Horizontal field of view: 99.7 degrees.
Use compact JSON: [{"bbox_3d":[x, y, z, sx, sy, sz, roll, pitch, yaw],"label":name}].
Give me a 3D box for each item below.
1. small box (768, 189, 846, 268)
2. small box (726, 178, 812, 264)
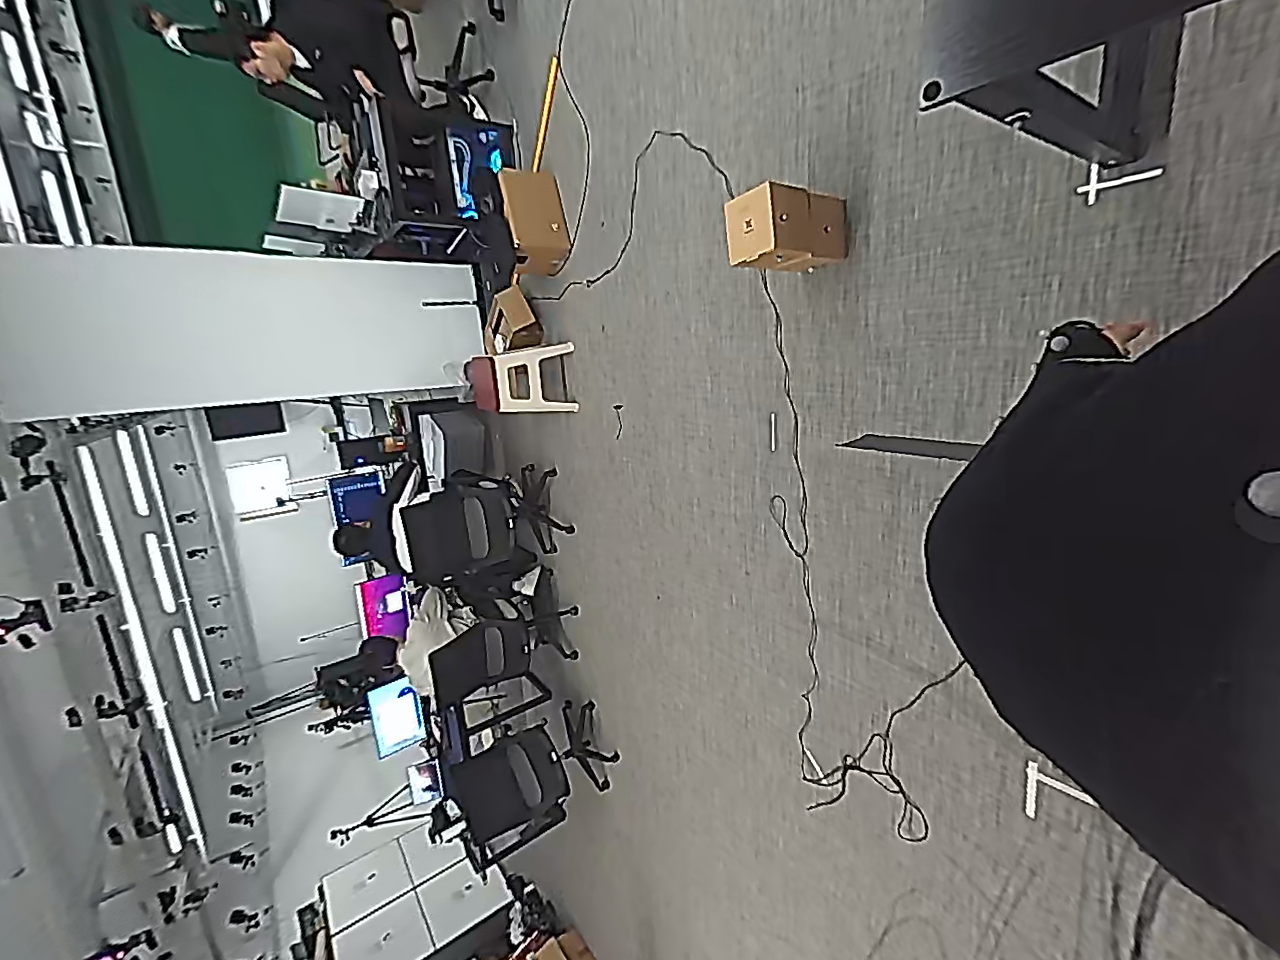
[{"bbox_3d":[0.498,-0.744,1.617,0.168,0.176,0.179,9,108,54],"label":"small box"},{"bbox_3d":[0.366,-0.720,1.525,0.168,0.176,0.179,3,102,54],"label":"small box"}]
